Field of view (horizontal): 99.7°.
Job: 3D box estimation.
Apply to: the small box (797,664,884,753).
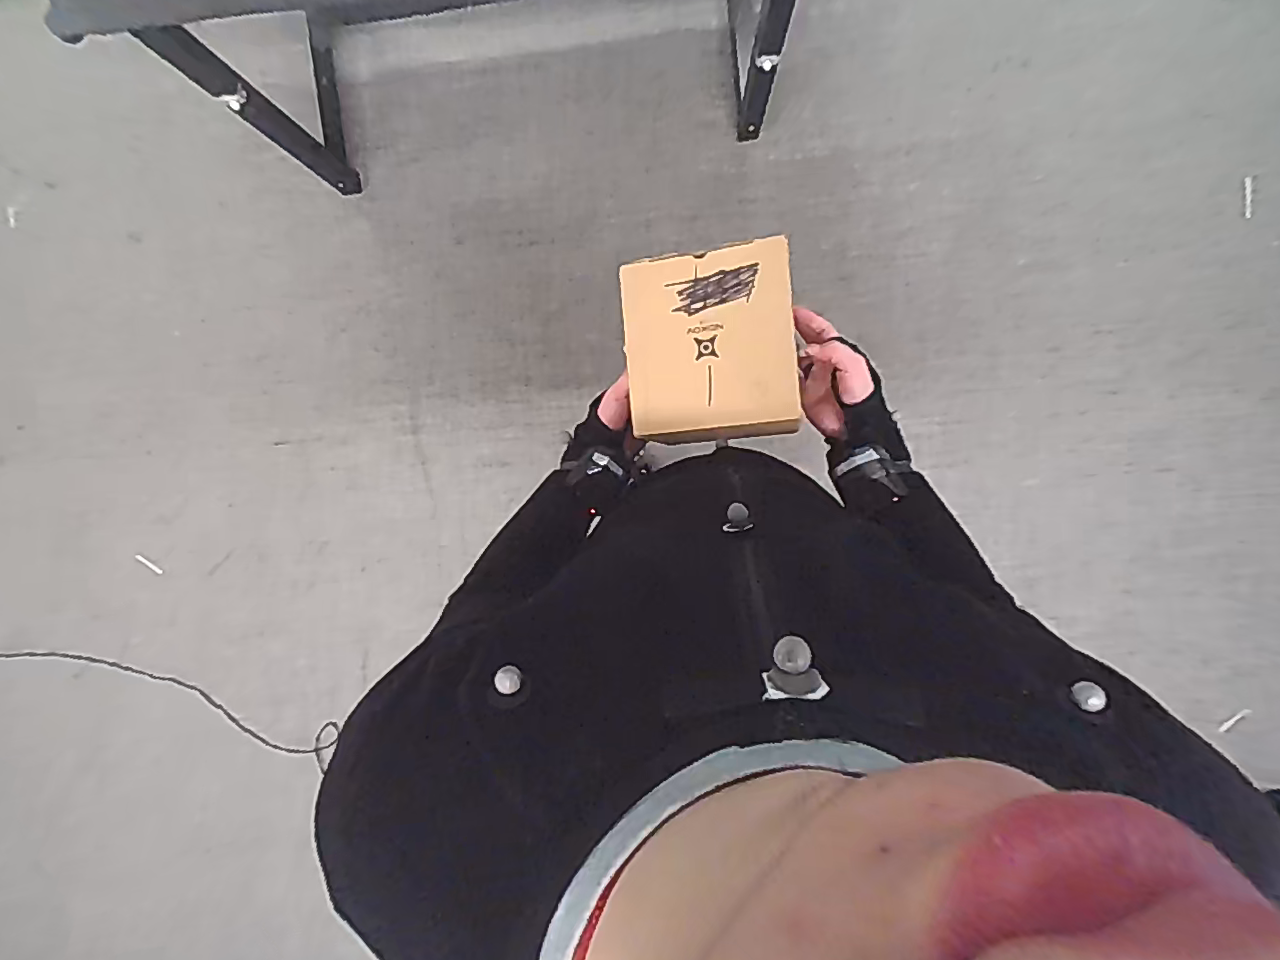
[{"bbox_3d":[0.555,0.632,1.514,0.179,0.176,0.168,7,93,3],"label":"small box"}]
